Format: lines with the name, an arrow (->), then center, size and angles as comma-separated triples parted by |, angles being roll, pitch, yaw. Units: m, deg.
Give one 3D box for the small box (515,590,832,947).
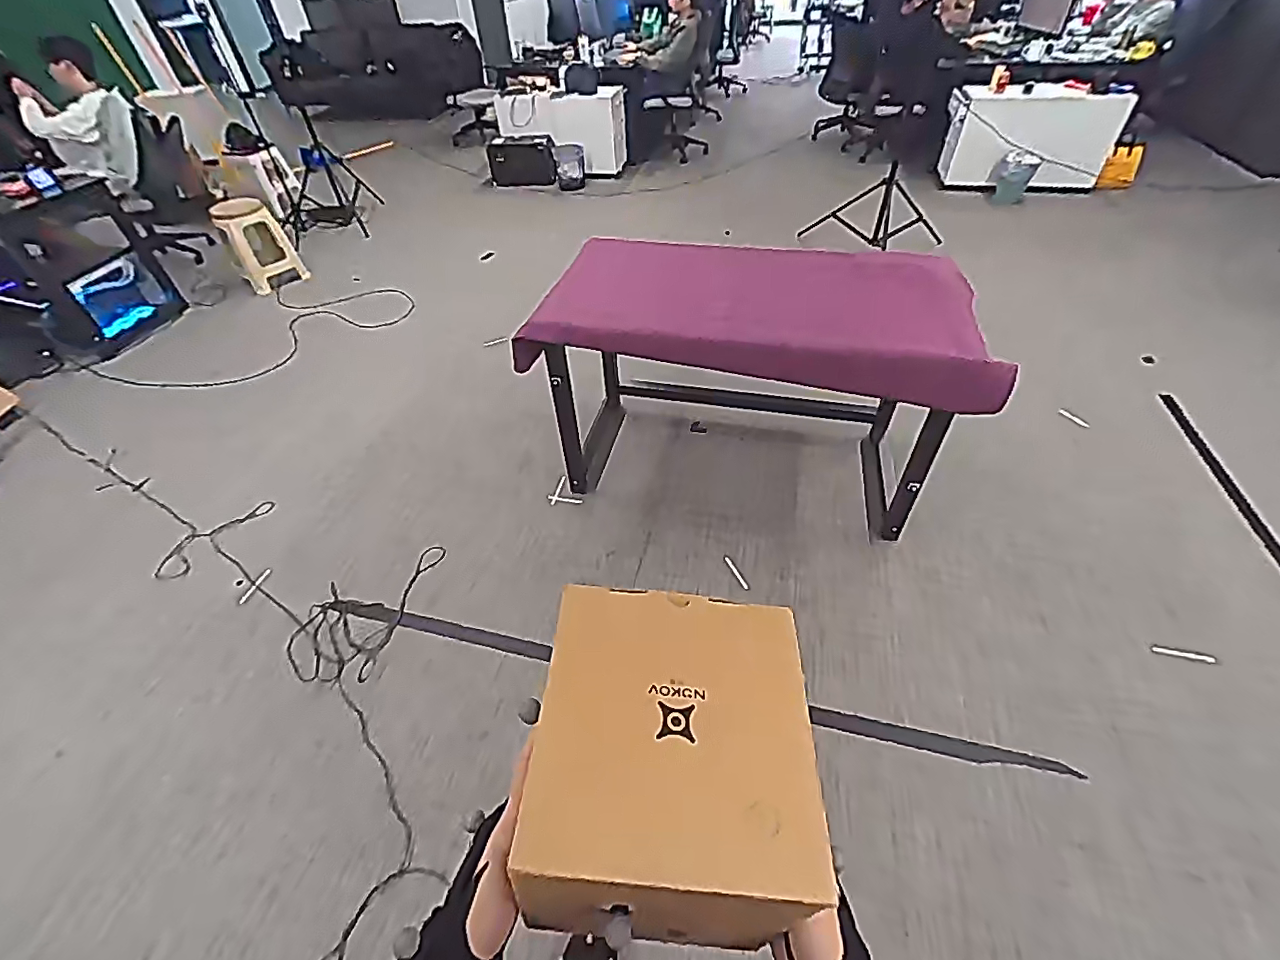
small box -> 0.017, 0.206, 0.387 | 0.168, 0.176, 0.179 | 6, 41, -1
